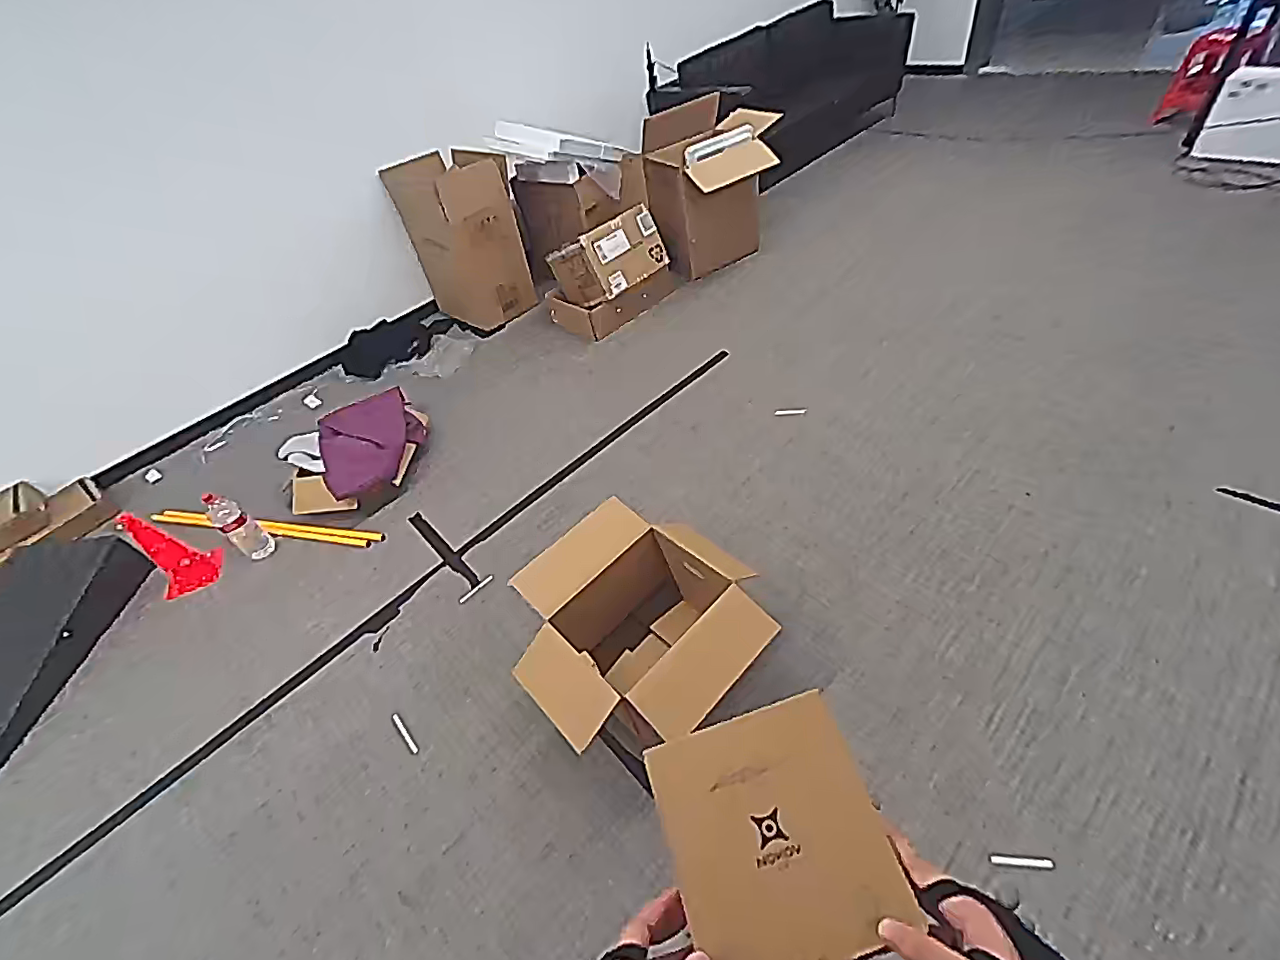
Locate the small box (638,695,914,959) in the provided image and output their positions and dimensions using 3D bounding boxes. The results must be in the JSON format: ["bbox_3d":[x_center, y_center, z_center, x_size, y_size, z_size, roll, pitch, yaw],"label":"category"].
[{"bbox_3d":[0.112,0.326,0.497,0.168,0.176,0.179,-20,55,-2],"label":"small box"}]
